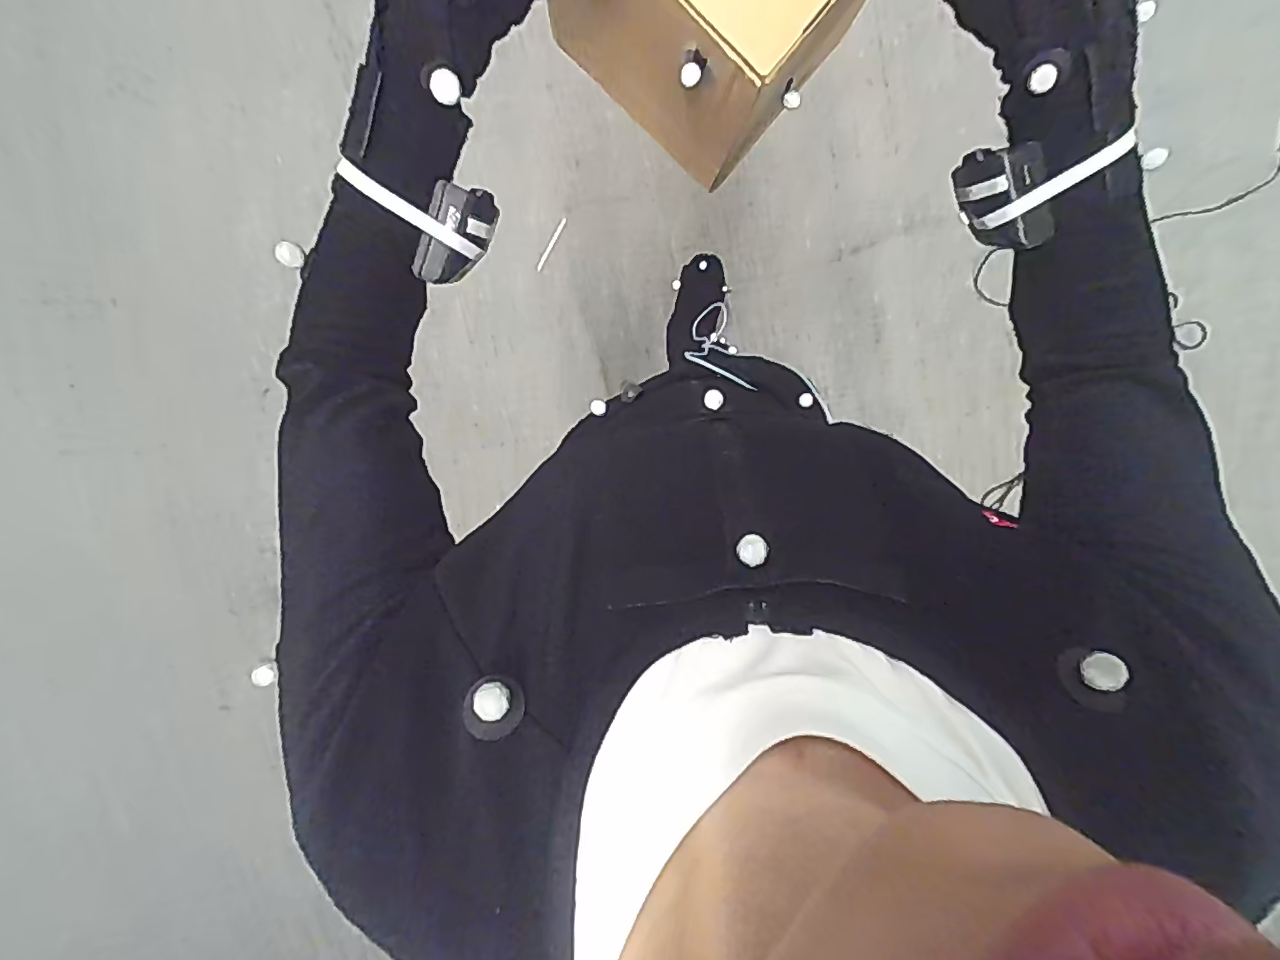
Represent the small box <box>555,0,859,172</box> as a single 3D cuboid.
[{"bbox_3d":[0.050,-0.352,0.360,0.179,0.176,0.168,41,95,-9],"label":"small box"}]
